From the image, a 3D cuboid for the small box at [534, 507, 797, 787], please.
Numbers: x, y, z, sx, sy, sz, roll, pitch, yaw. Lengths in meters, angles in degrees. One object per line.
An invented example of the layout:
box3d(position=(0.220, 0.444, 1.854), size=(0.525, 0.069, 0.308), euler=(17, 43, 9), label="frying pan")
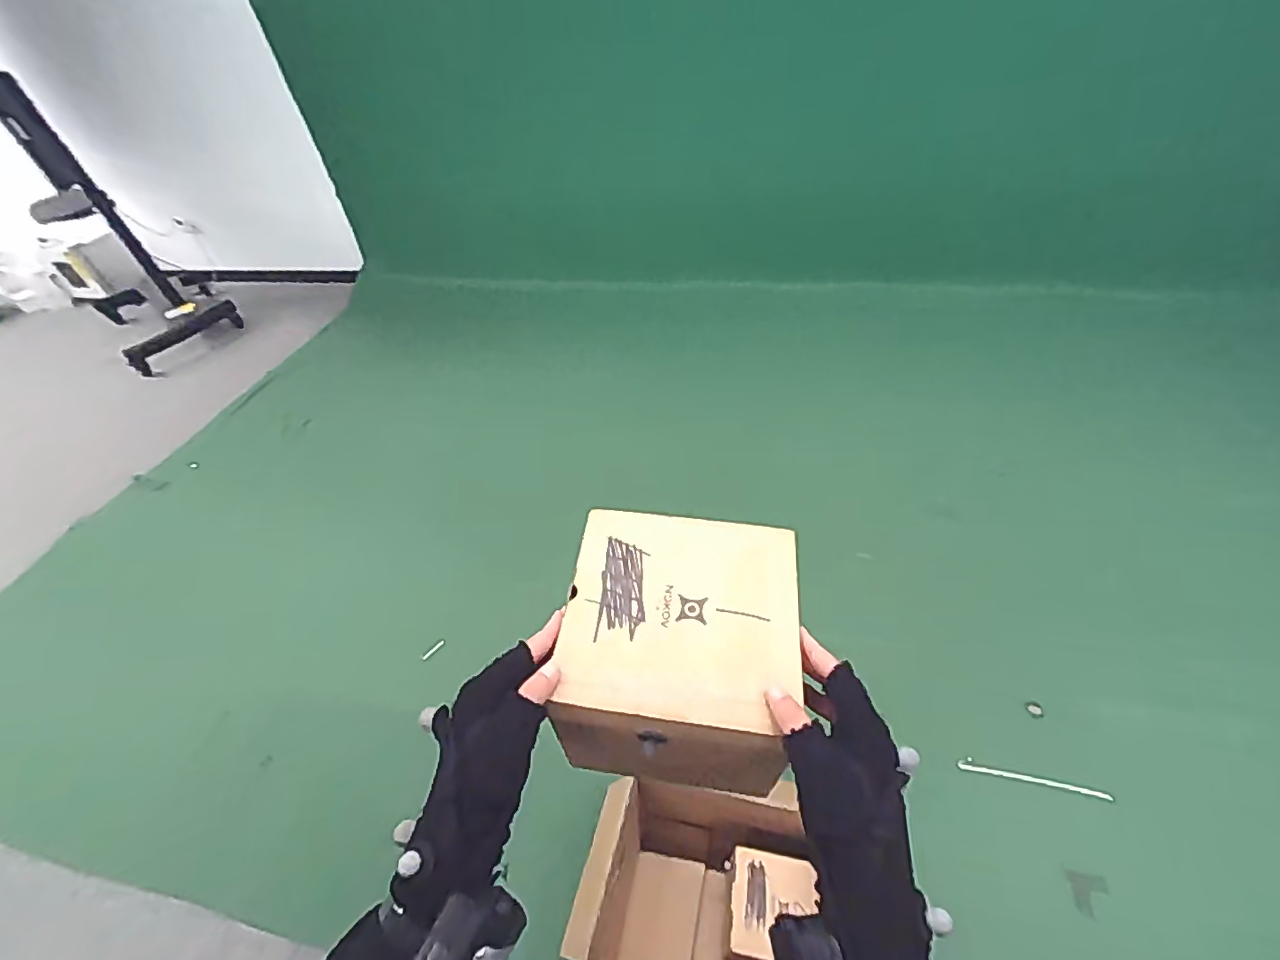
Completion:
box3d(position=(0.028, 0.144, 0.461), size=(0.179, 0.176, 0.168), euler=(6, 49, 6), label="small box")
